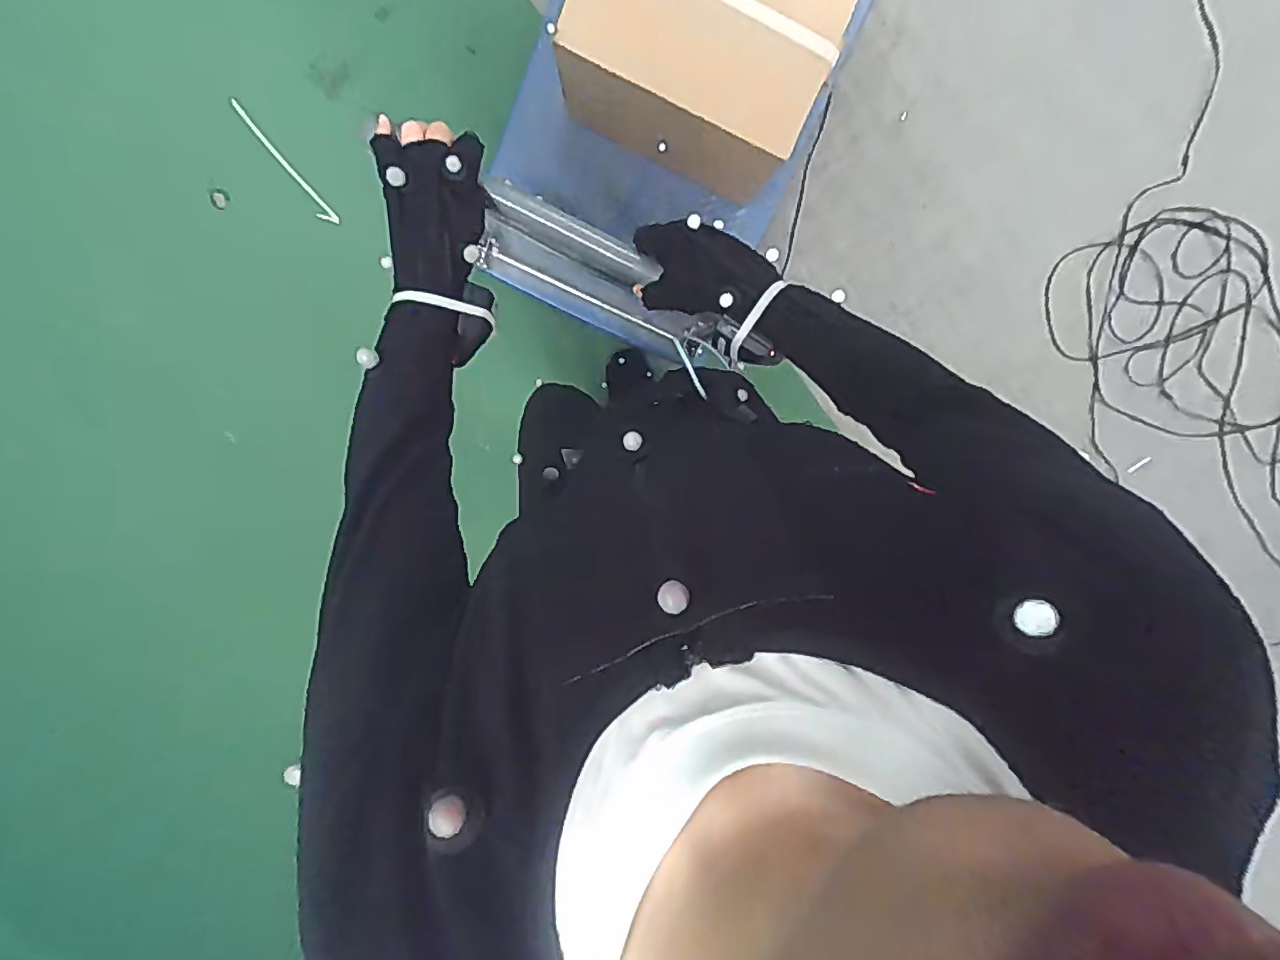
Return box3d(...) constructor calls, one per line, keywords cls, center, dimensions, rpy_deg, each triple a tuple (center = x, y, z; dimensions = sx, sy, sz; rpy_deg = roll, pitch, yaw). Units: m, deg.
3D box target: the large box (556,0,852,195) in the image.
box3d(cls="large box", center=(0.107, -0.769, 0.956), dimensions=(0.408, 0.320, 0.320), rpy_deg=(22, 102, -7))
